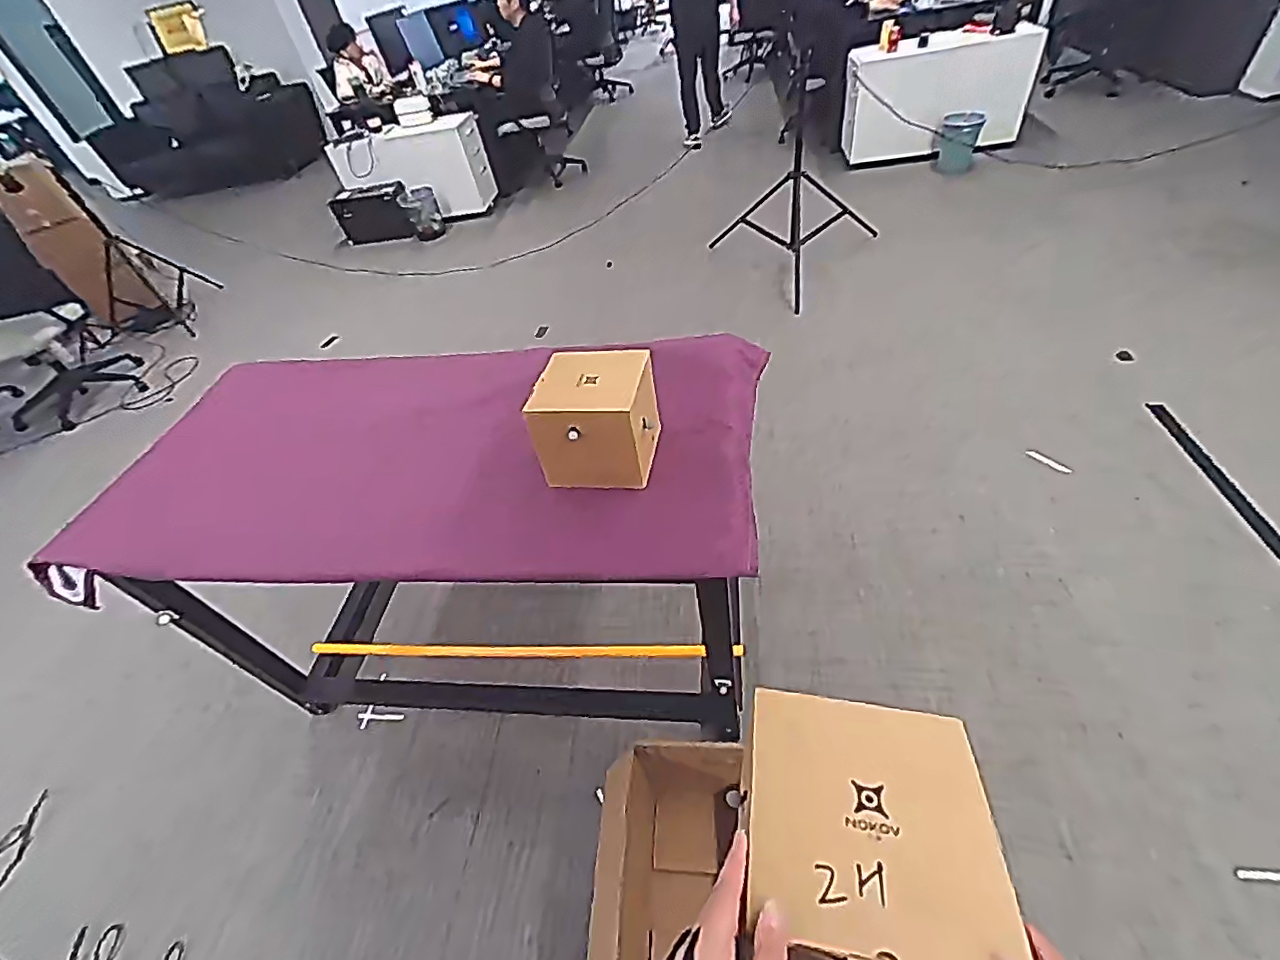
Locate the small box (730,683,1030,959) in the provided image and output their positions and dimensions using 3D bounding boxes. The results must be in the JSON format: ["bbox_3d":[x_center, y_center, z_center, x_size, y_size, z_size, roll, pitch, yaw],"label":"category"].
[{"bbox_3d":[0.163,0.297,0.427,0.168,0.176,0.179,5,35,11],"label":"small box"}]

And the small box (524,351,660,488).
[{"bbox_3d":[-0.068,-0.101,0.919,0.179,0.176,0.168,1,46,14],"label":"small box"}]
